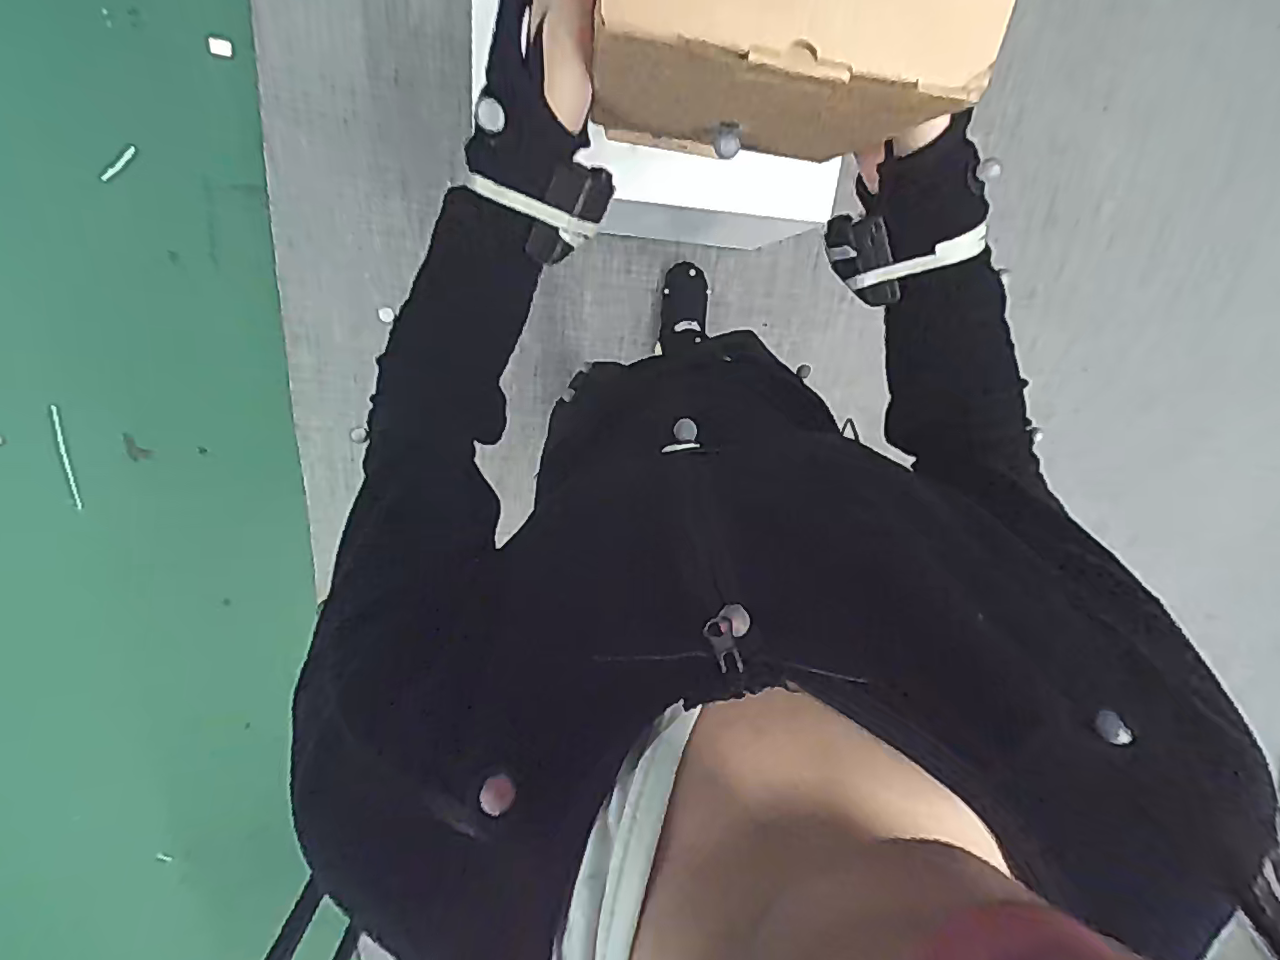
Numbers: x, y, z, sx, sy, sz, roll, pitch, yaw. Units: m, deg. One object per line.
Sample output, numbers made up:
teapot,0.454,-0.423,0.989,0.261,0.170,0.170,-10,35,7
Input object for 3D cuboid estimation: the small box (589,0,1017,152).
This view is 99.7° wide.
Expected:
small box,0.066,-0.282,0.253,0.168,0.176,0.179,5,110,-8

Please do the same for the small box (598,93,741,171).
small box,0.047,-0.491,0.632,0.168,0.176,0.179,8,107,-2
